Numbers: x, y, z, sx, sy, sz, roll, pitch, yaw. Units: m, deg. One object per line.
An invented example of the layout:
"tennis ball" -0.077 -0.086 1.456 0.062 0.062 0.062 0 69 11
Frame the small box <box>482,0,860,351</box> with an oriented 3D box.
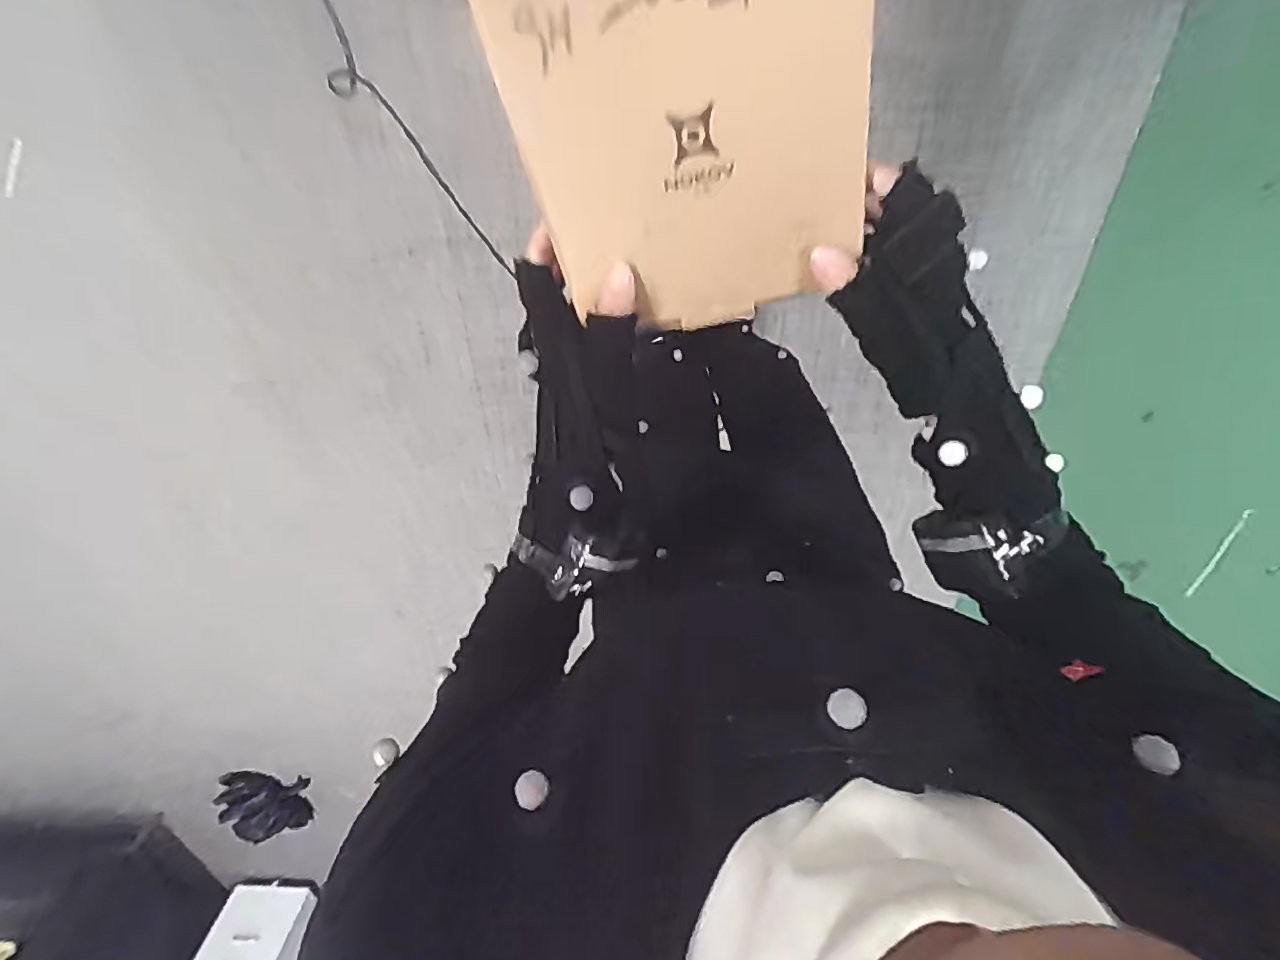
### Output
"small box" 0.027 -0.212 0.339 0.168 0.176 0.179 -9 134 9
